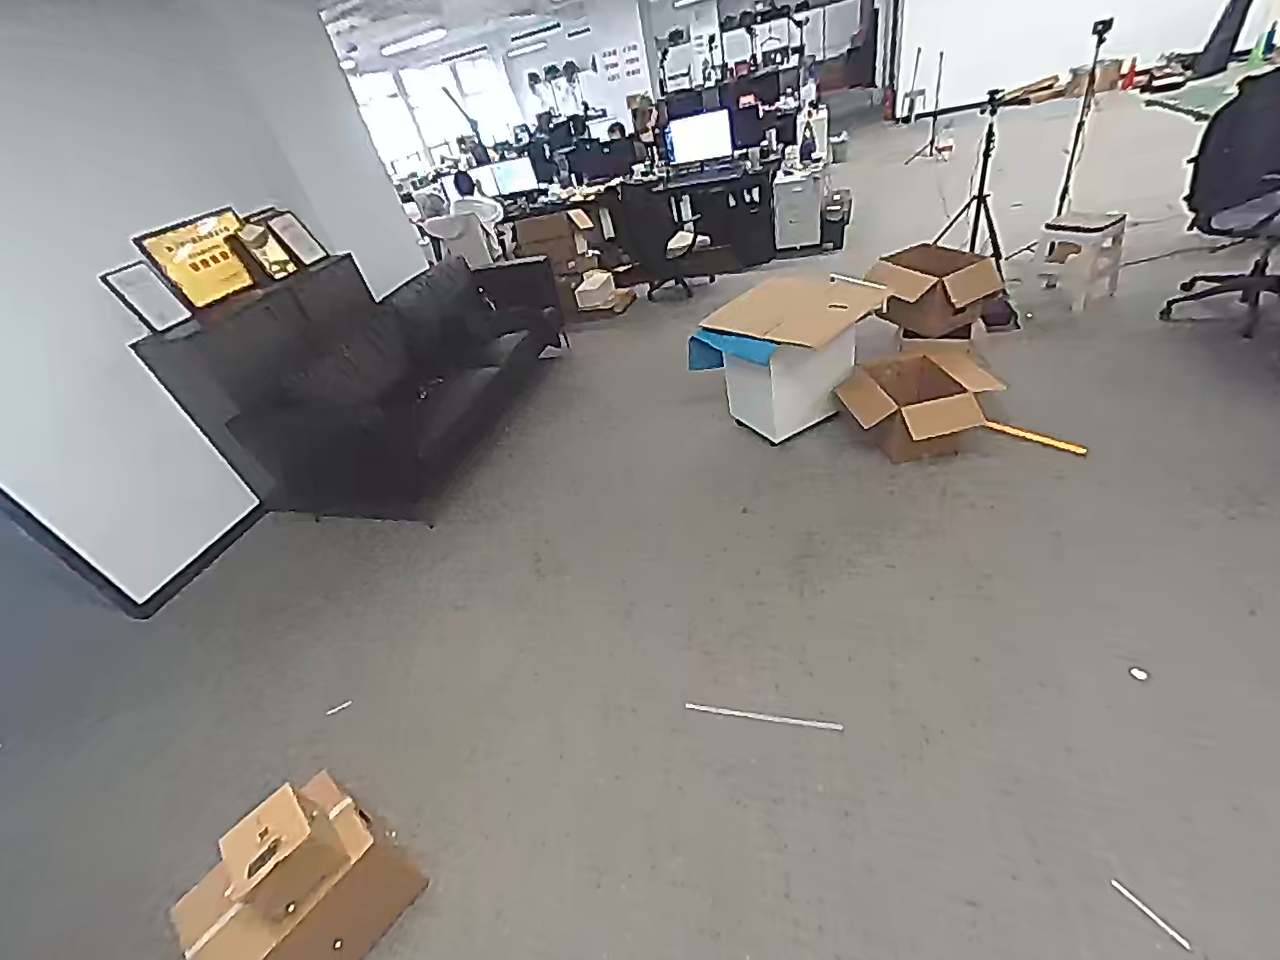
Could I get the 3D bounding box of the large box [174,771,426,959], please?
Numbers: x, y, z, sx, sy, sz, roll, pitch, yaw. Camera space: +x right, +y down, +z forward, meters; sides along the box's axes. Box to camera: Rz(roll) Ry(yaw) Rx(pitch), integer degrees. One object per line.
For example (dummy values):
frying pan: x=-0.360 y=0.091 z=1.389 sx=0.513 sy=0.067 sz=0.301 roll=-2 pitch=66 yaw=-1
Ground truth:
large box: x=-0.857 y=1.077 z=1.407 sx=0.320 sy=0.320 sz=0.408 roll=19 pitch=49 yaw=37

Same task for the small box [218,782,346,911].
small box: x=-0.830 y=0.862 z=1.266 sx=0.179 sy=0.176 sz=0.168 roll=24 pitch=51 yaw=38
